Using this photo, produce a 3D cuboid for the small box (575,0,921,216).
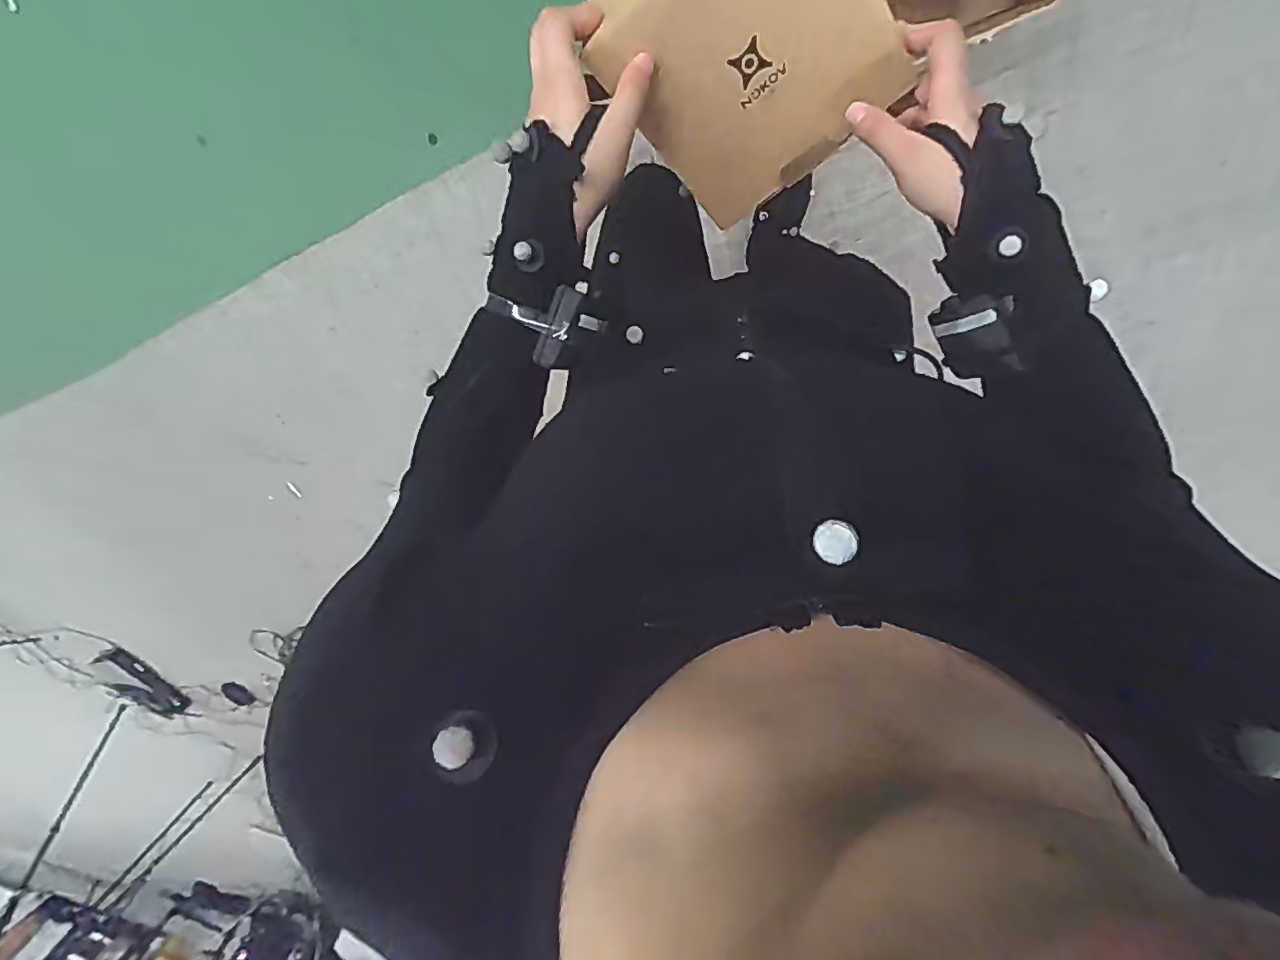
[{"bbox_3d":[0.071,-0.350,0.399,0.168,0.176,0.179,-28,138,34],"label":"small box"}]
